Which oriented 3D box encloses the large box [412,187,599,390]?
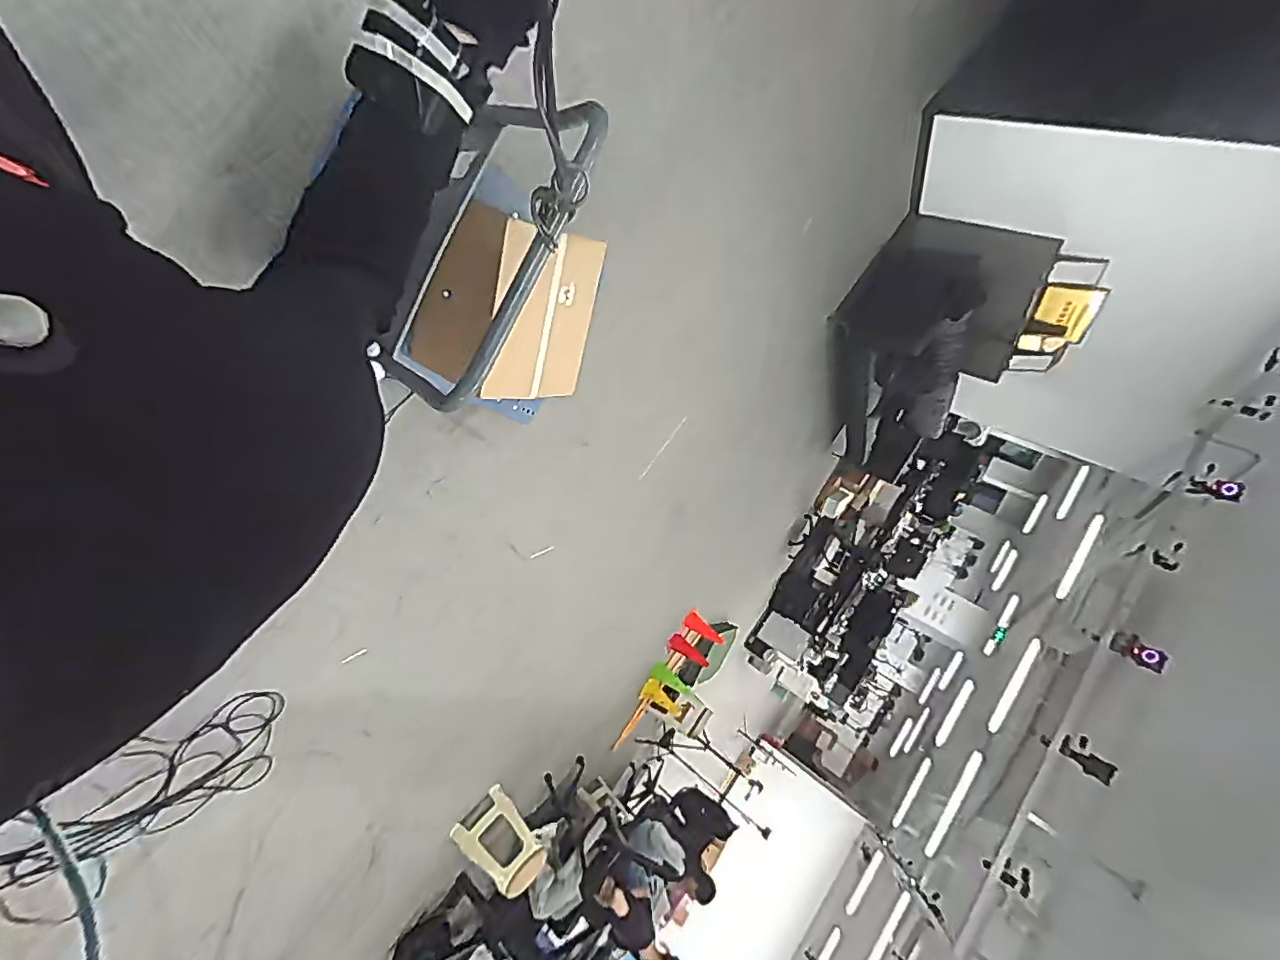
[{"bbox_3d":[-0.354,-0.474,1.384,0.320,0.320,0.408,-15,127,-51],"label":"large box"}]
